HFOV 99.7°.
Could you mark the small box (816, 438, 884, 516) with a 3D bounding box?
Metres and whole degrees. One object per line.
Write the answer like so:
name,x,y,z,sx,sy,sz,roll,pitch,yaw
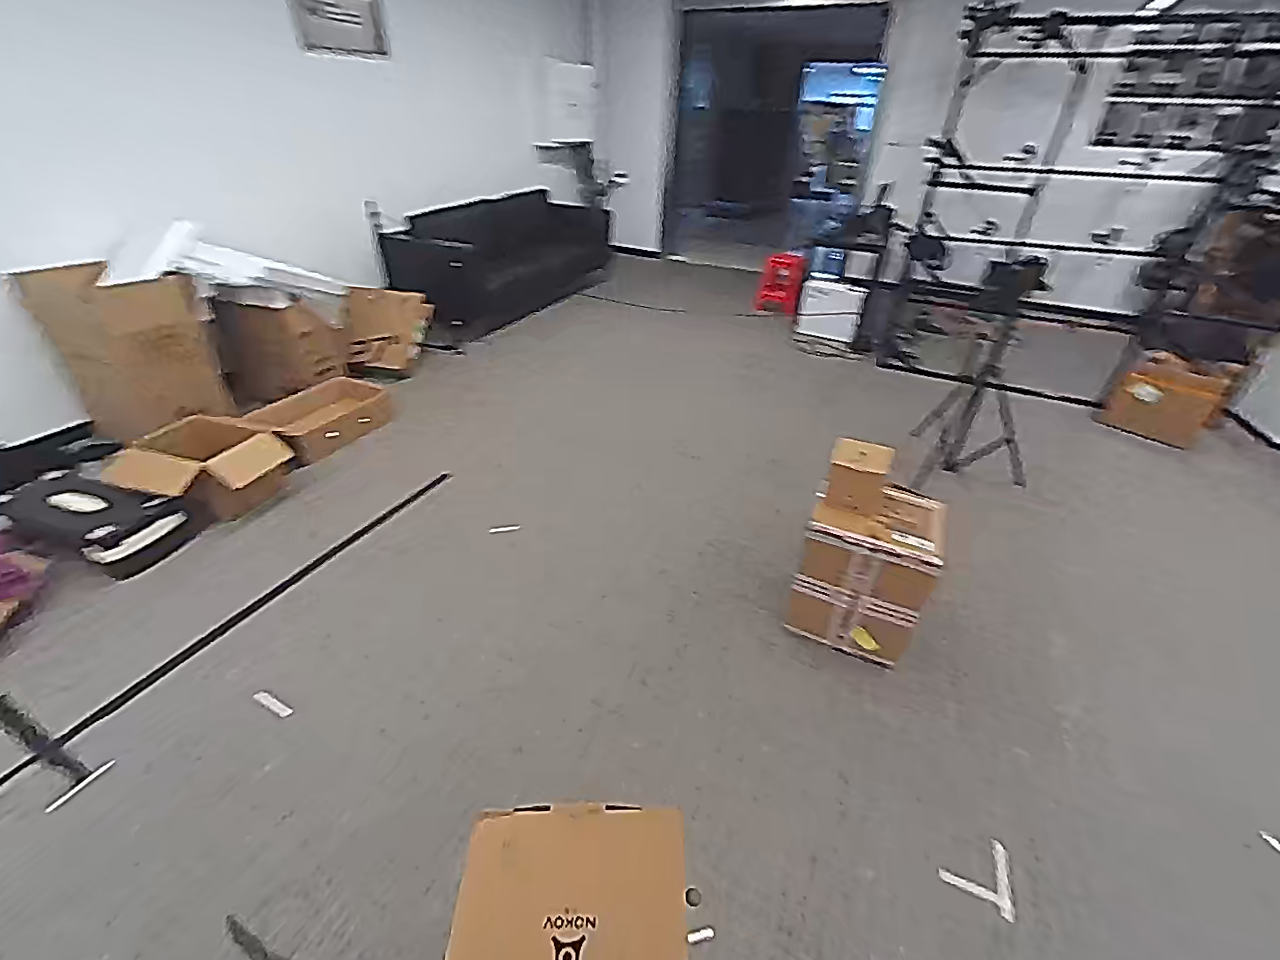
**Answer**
small box,0.690,-0.012,1.784,0.168,0.176,0.179,15,38,22
